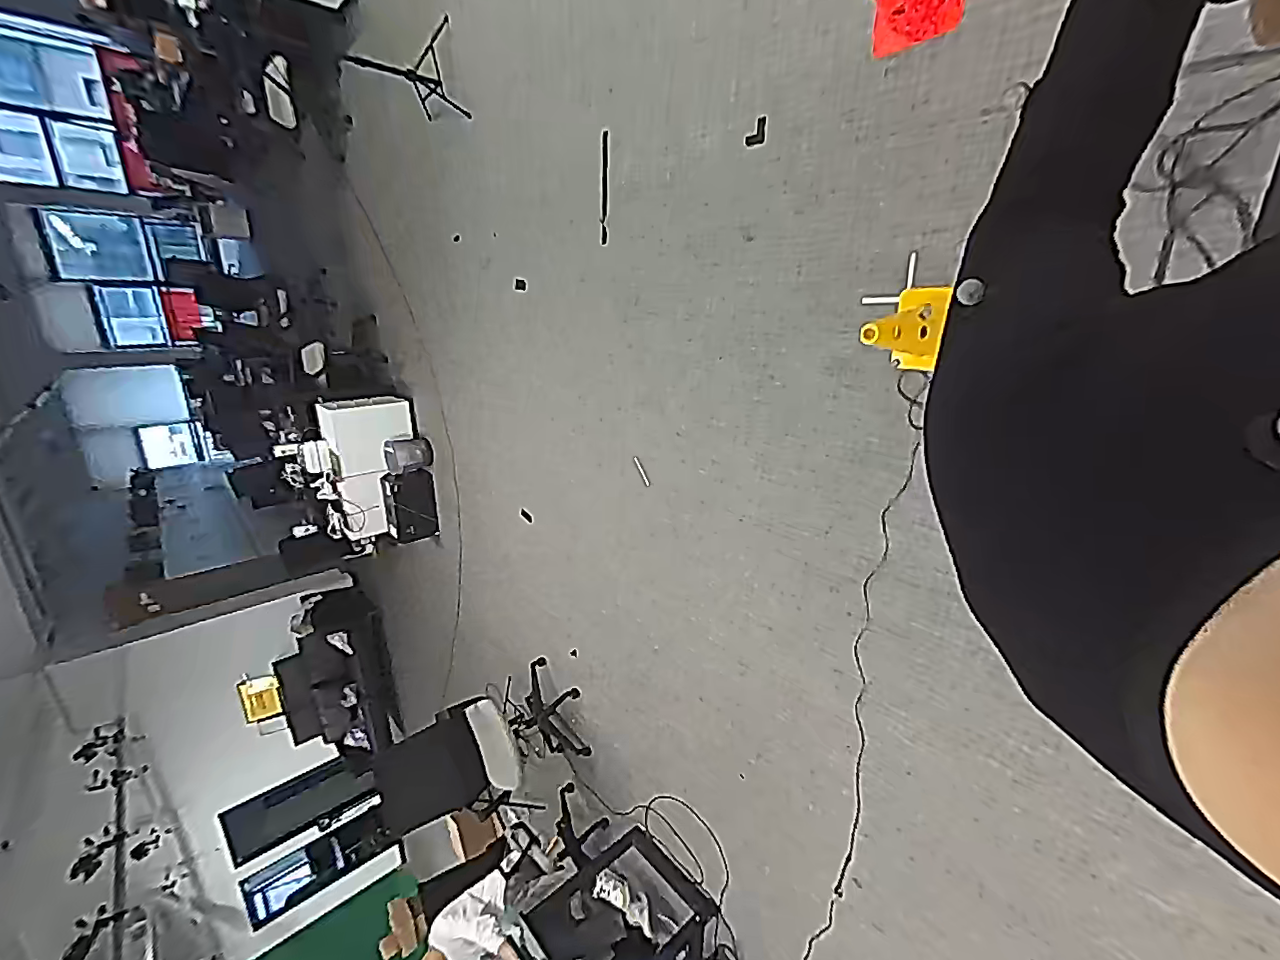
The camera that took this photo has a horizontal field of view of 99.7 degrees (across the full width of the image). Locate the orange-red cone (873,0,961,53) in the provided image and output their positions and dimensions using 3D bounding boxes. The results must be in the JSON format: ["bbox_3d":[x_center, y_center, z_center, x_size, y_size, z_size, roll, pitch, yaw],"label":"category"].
[{"bbox_3d":[0.500,-1.074,1.119,0.198,0.360,0.199,17,116,47],"label":"orange-red cone"}]
